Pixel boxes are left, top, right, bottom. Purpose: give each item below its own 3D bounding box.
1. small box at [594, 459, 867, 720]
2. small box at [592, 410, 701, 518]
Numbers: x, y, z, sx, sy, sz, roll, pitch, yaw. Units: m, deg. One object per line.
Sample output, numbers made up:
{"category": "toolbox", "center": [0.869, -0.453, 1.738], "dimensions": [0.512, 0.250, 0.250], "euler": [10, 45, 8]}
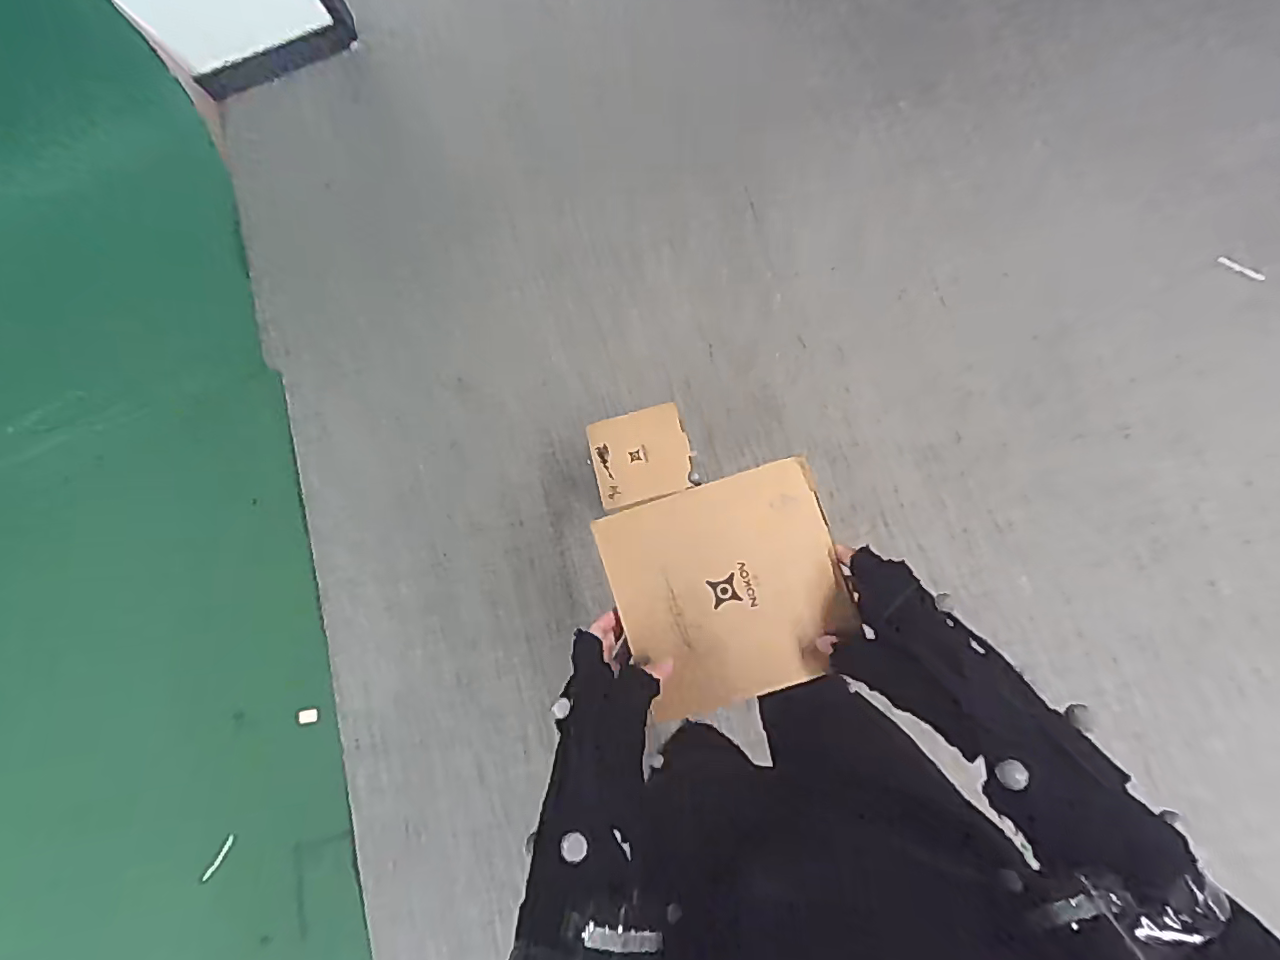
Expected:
{"category": "small box", "center": [0.075, 0.088, 0.502], "dimensions": [0.179, 0.176, 0.168], "euler": [-20, 86, 5]}
{"category": "small box", "center": [0.019, -0.021, 1.063], "dimensions": [0.179, 0.176, 0.168], "euler": [-14, 79, 5]}
